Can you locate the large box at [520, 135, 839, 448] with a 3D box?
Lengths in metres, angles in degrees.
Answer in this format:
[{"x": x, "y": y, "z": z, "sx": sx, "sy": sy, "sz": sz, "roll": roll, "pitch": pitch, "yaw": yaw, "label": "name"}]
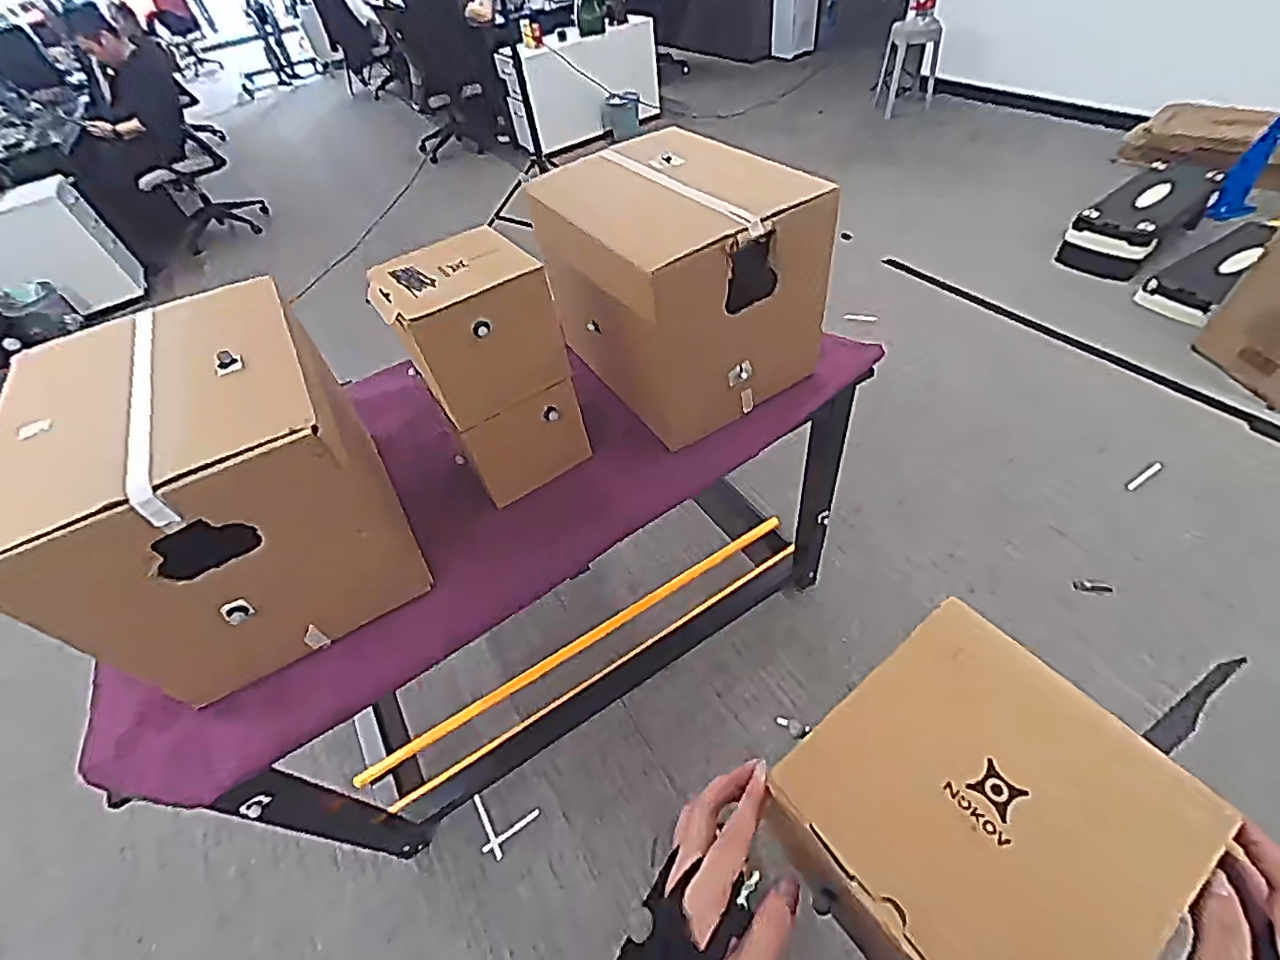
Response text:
[{"x": 0.058, "y": -0.325, "z": 0.905, "sx": 0.320, "sy": 0.320, "sz": 0.408, "roll": -29, "pitch": 50, "yaw": -16, "label": "large box"}]
